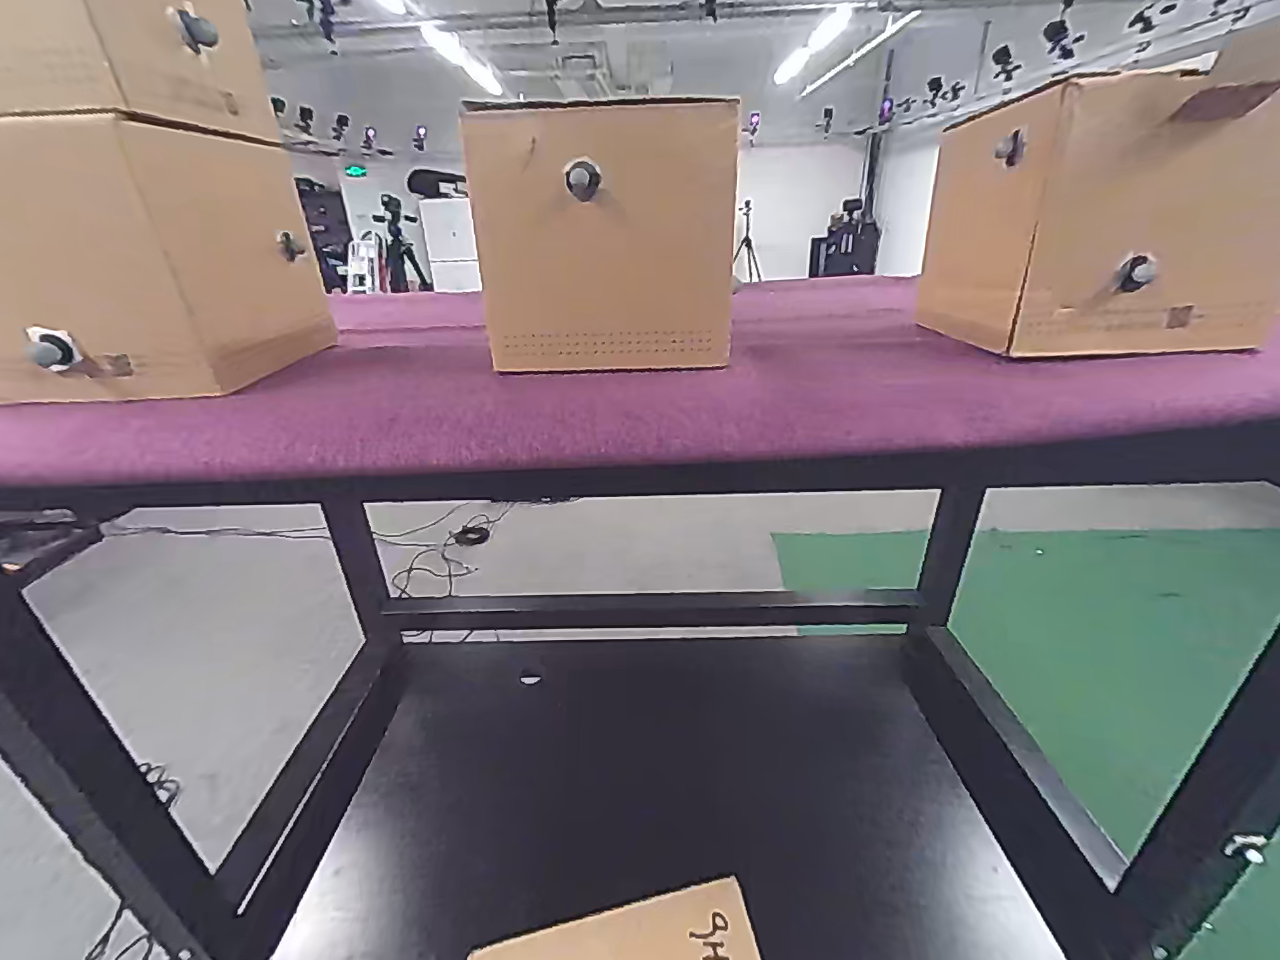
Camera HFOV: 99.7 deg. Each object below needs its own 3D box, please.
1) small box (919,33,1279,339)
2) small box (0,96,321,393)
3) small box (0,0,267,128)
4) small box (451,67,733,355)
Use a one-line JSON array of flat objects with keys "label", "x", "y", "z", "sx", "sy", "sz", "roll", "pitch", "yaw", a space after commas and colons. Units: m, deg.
[{"label": "small box", "x": 0.336, "y": -0.206, "z": 0.411, "sx": 0.168, "sy": 0.176, "sz": 0.179, "roll": -2, "pitch": 25, "yaw": 5}, {"label": "small box", "x": -0.373, "y": -0.171, "z": 0.406, "sx": 0.168, "sy": 0.176, "sz": 0.179, "roll": -4, "pitch": 28, "yaw": -1}, {"label": "small box", "x": -0.385, "y": -0.319, "z": 0.334, "sx": 0.179, "sy": 0.176, "sz": 0.168, "roll": -4, "pitch": 27, "yaw": -2}, {"label": "small box", "x": -0.024, "y": -0.198, "z": 0.429, "sx": 0.179, "sy": 0.176, "sz": 0.168, "roll": -1, "pitch": 25, "yaw": 2}]
